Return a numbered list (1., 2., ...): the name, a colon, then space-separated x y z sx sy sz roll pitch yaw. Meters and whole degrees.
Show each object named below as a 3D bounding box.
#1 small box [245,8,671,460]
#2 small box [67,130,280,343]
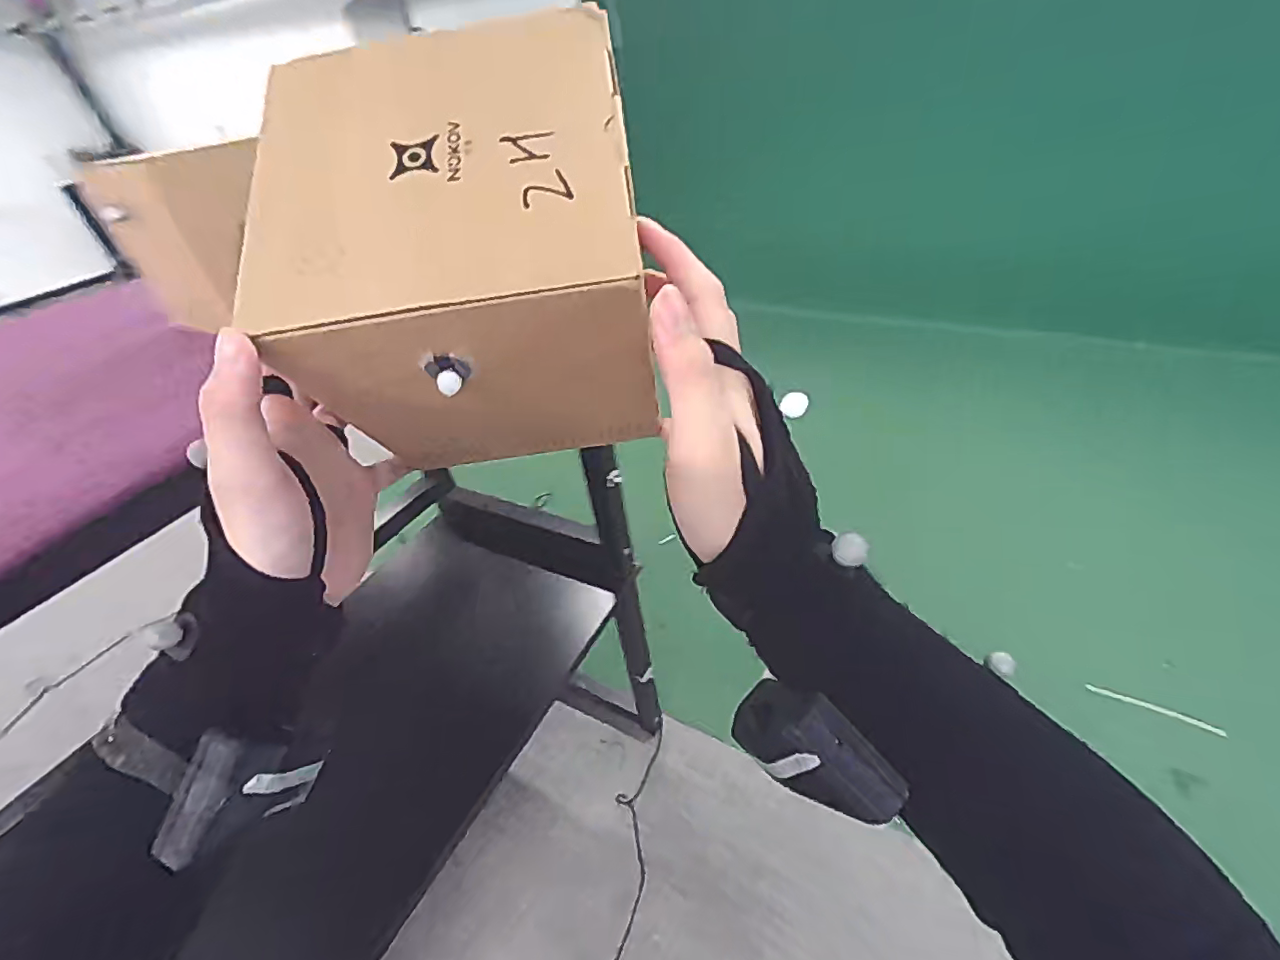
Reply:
1. small box: -0.079 -0.120 0.321 0.179 0.176 0.168 -7 72 3
2. small box: -0.442 -0.264 0.591 0.179 0.176 0.168 15 45 30
